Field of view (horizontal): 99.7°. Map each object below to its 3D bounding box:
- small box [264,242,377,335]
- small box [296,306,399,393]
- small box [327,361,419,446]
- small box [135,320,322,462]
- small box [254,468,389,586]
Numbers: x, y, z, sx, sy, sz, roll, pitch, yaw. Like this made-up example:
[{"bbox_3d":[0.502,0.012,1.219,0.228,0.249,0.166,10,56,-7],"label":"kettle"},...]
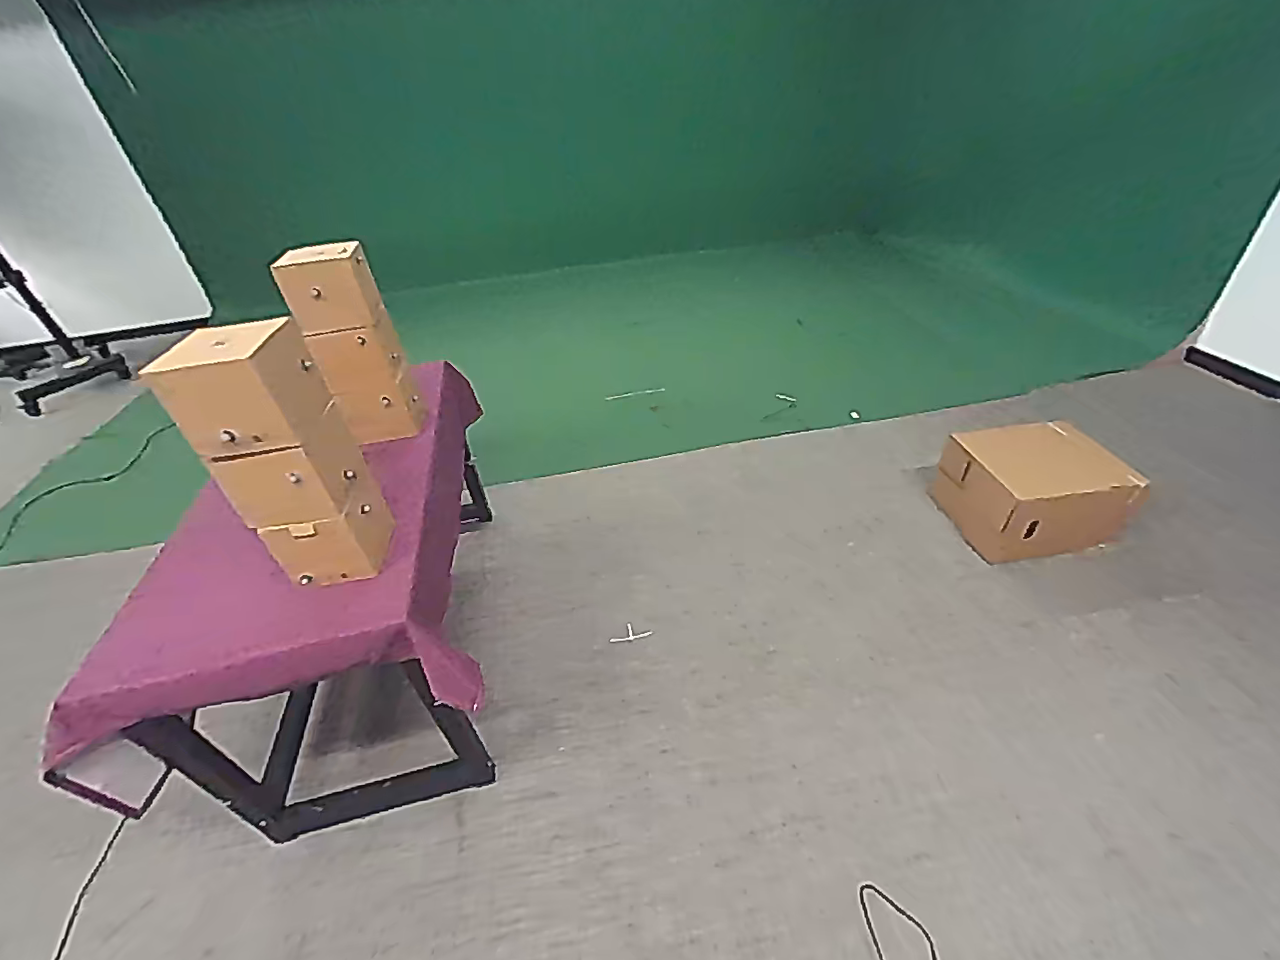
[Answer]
[{"bbox_3d":[-0.790,-0.479,1.357,0.179,0.176,0.168,-13,39,-8],"label":"small box"},{"bbox_3d":[-0.779,-0.350,1.458,0.179,0.176,0.168,-10,38,-6],"label":"small box"},{"bbox_3d":[-0.755,-0.220,1.554,0.179,0.176,0.168,-11,38,-6],"label":"small box"},{"bbox_3d":[-0.681,-0.154,0.926,0.168,0.176,0.179,-10,38,-3],"label":"small box"},{"bbox_3d":[-0.647,0.103,1.127,0.168,0.176,0.179,-10,37,-4],"label":"small box"}]
